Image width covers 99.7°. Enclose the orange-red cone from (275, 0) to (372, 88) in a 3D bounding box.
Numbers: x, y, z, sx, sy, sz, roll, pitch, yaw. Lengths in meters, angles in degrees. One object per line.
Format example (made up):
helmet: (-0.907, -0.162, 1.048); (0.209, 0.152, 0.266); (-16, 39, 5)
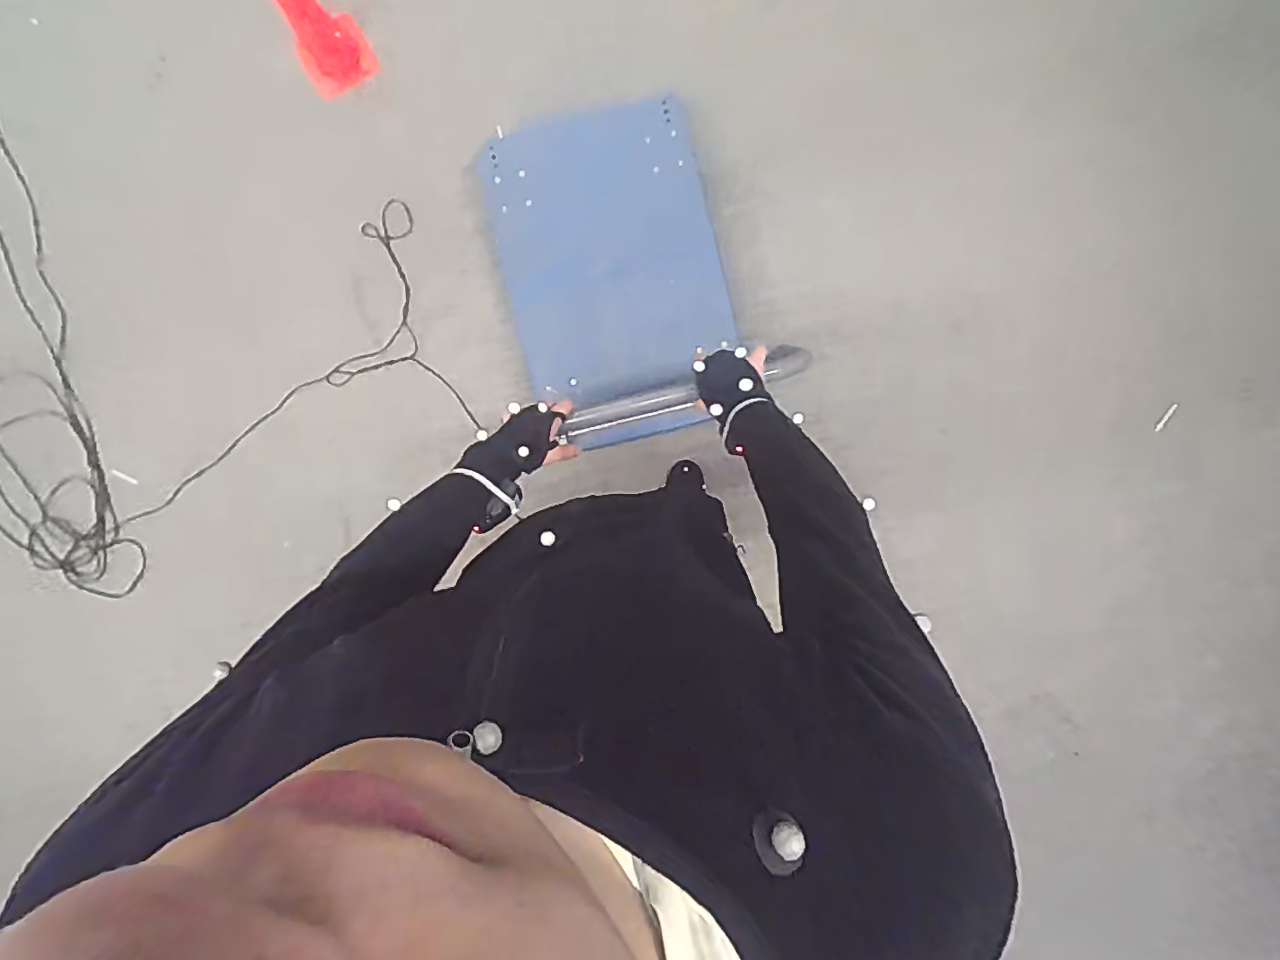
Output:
orange-red cone: (-0.925, -1.285, 1.439); (0.199, 0.360, 0.198); (-29, 90, 4)
